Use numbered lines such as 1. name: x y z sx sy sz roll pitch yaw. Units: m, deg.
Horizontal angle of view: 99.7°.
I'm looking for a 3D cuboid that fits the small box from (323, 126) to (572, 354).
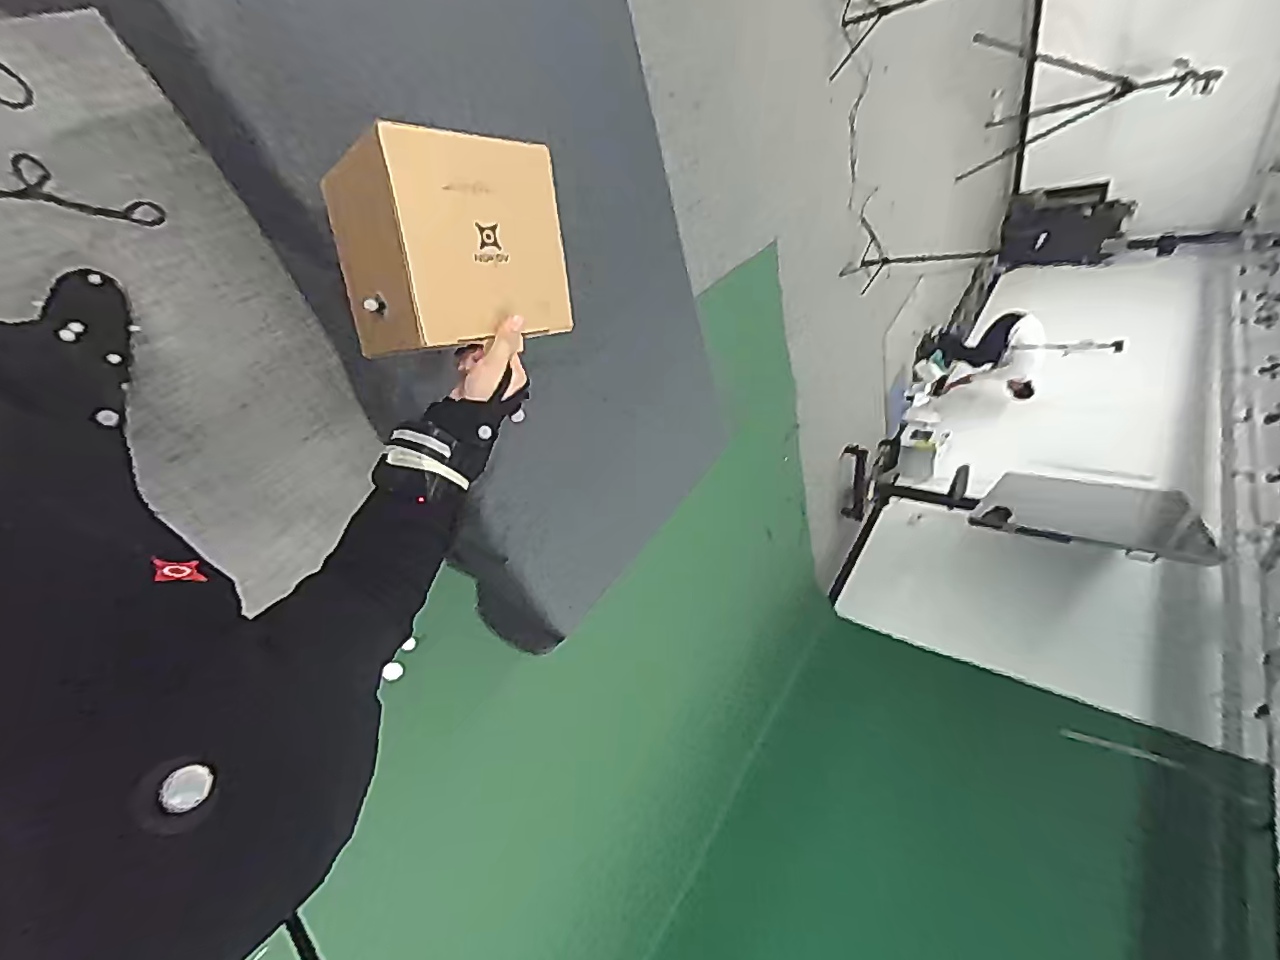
1. small box: -0.196 -0.227 0.556 0.168 0.176 0.179 -22 111 -41
